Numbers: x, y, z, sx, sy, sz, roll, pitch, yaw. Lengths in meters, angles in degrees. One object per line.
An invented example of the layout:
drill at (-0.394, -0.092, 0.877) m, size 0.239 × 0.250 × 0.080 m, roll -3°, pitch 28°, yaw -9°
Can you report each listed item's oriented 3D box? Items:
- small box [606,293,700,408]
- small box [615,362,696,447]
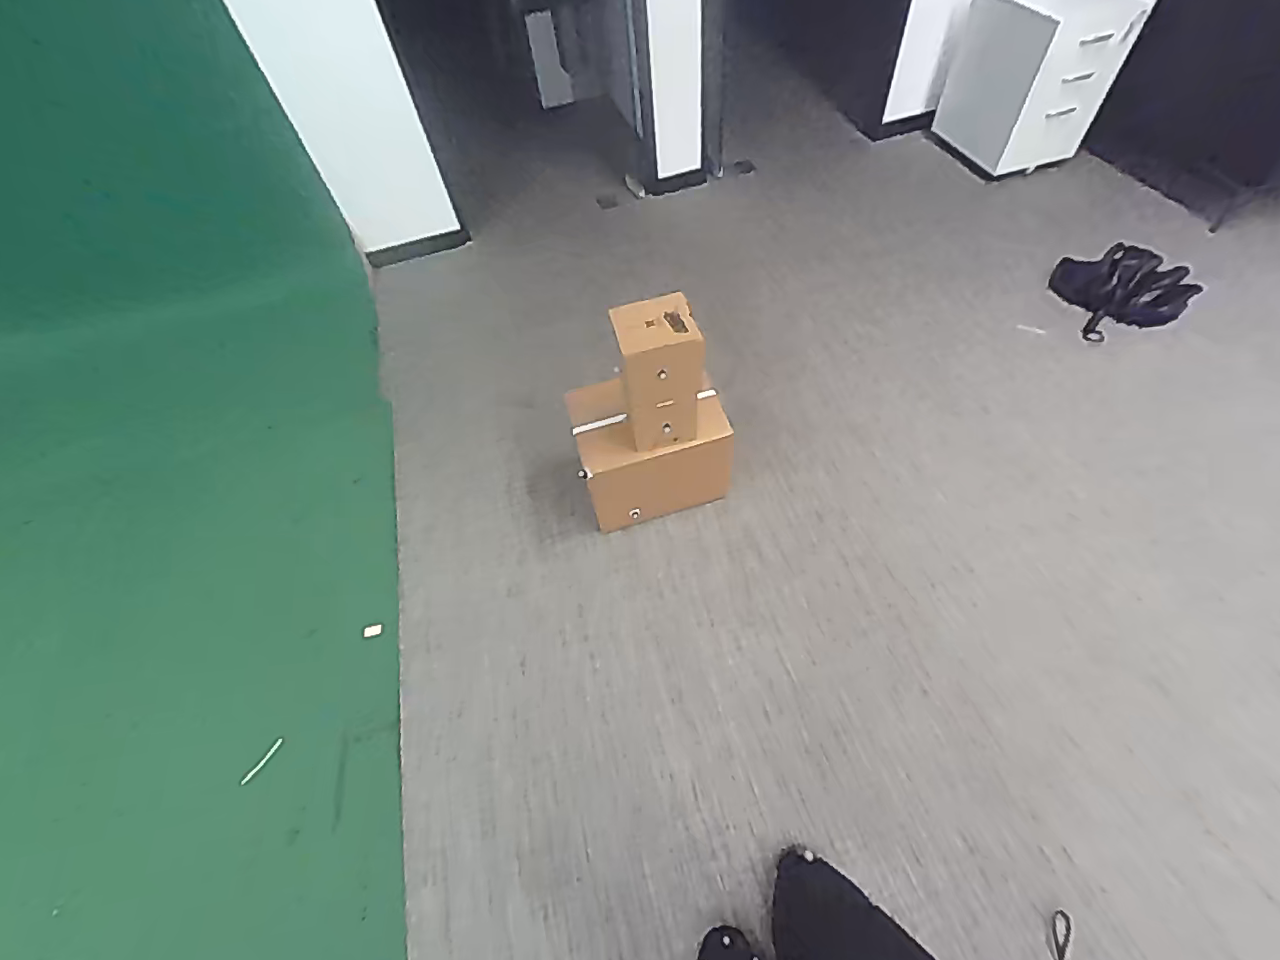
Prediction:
small box at (0.033, -0.294, 1.242) m, size 0.179 × 0.176 × 0.168 m, roll -15°, pitch 56°, yaw -2°
small box at (0.043, -0.203, 1.380) m, size 0.168 × 0.176 × 0.179 m, roll -15°, pitch 56°, yaw -2°
